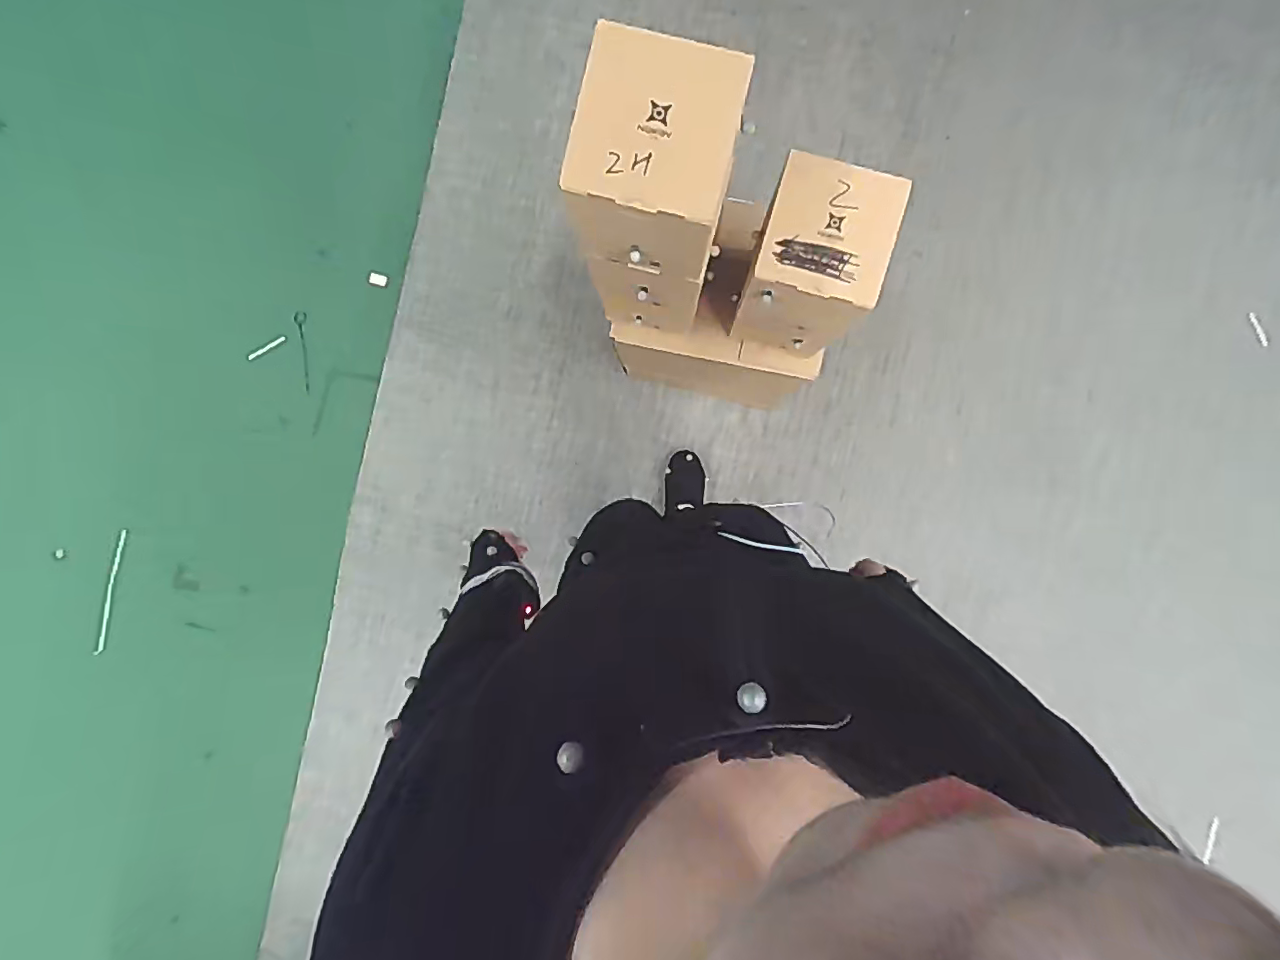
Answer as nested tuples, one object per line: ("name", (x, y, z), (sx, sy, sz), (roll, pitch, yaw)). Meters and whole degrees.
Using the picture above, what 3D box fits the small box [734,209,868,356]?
("small box", (0.268, -0.332, 0.946), (0.168, 0.176, 0.179), (16, 91, 3))

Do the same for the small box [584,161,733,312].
("small box", (0.027, -0.363, 0.793), (0.168, 0.176, 0.179), (15, 93, 1))

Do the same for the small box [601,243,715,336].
("small box", (0.035, -0.374, 0.957), (0.168, 0.176, 0.179), (13, 93, 1))

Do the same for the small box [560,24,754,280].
("small box", (0.018, -0.361, 0.628), (0.168, 0.176, 0.179), (15, 93, 2))
